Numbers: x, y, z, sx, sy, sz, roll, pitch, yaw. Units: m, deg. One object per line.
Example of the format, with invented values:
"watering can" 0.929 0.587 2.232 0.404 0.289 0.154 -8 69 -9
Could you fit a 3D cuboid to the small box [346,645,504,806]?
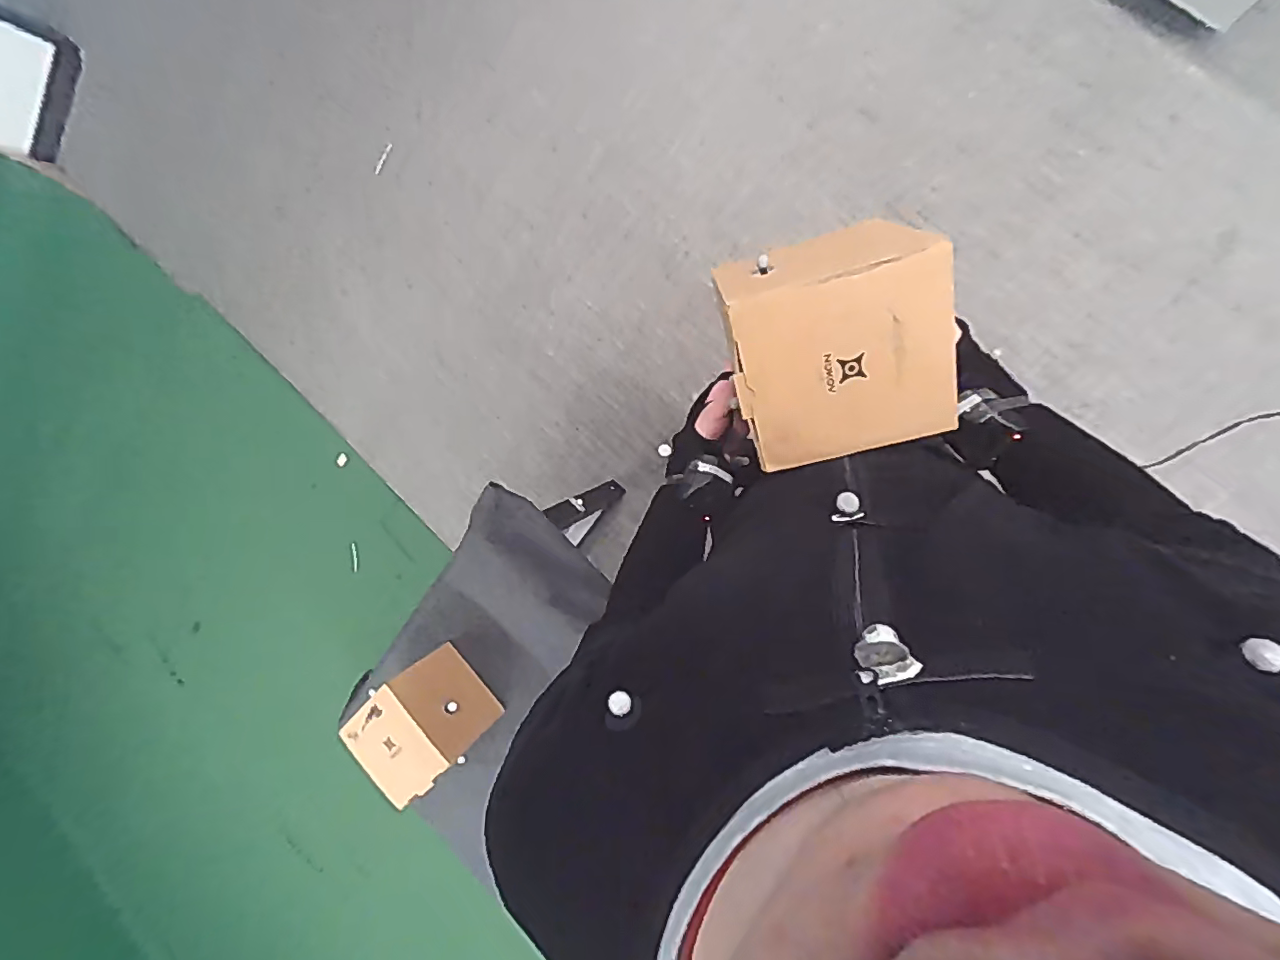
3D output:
"small box" -0.387 0.444 1.000 0.179 0.176 0.168 47 109 6
